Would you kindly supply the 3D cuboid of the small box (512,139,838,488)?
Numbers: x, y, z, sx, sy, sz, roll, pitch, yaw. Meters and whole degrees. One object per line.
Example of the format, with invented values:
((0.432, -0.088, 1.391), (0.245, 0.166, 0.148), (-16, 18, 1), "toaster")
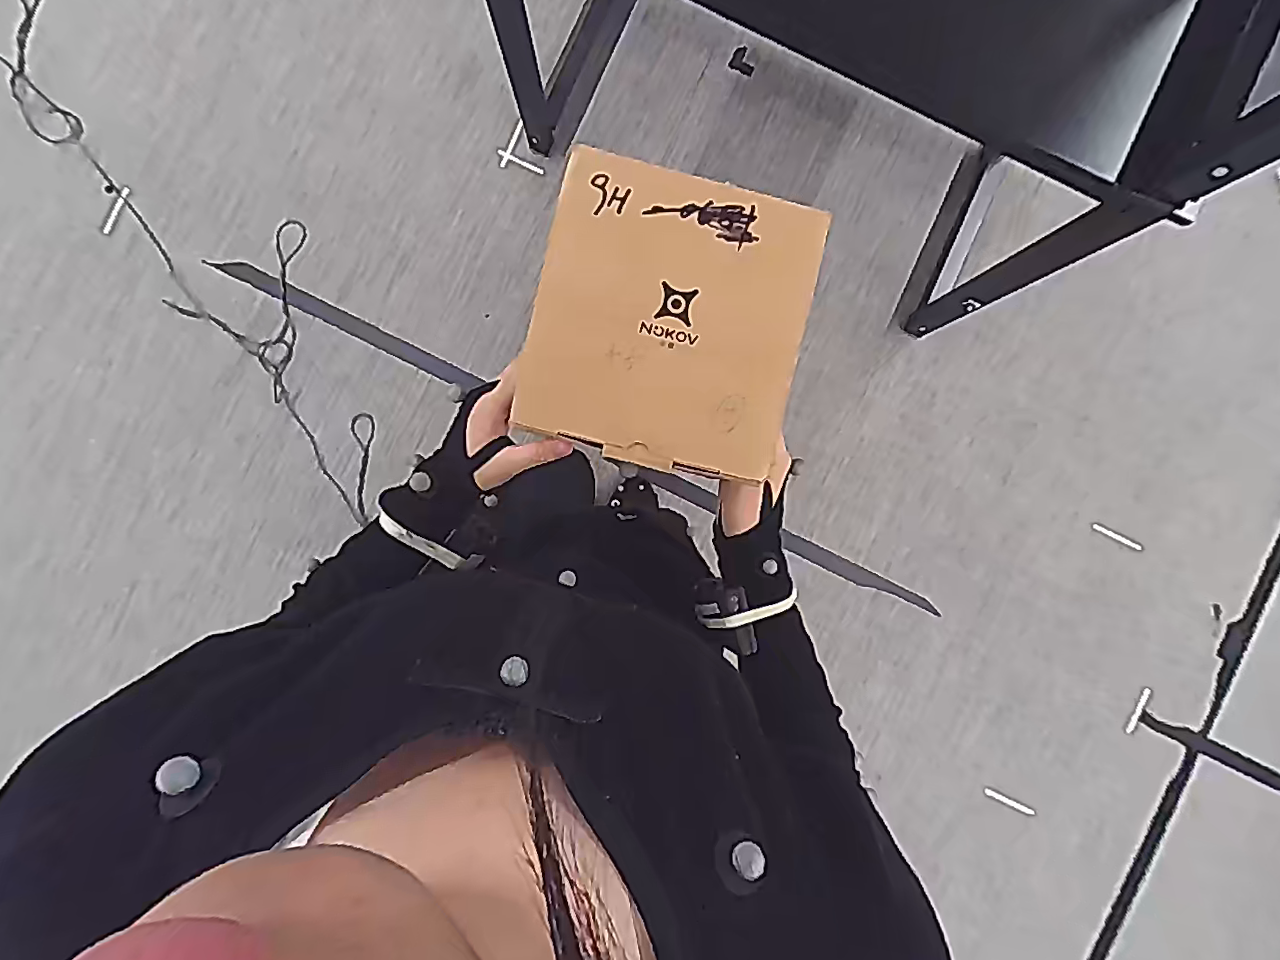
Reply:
((0.017, -0.102, 0.404), (0.168, 0.176, 0.179), (14, 92, -5), "small box")
